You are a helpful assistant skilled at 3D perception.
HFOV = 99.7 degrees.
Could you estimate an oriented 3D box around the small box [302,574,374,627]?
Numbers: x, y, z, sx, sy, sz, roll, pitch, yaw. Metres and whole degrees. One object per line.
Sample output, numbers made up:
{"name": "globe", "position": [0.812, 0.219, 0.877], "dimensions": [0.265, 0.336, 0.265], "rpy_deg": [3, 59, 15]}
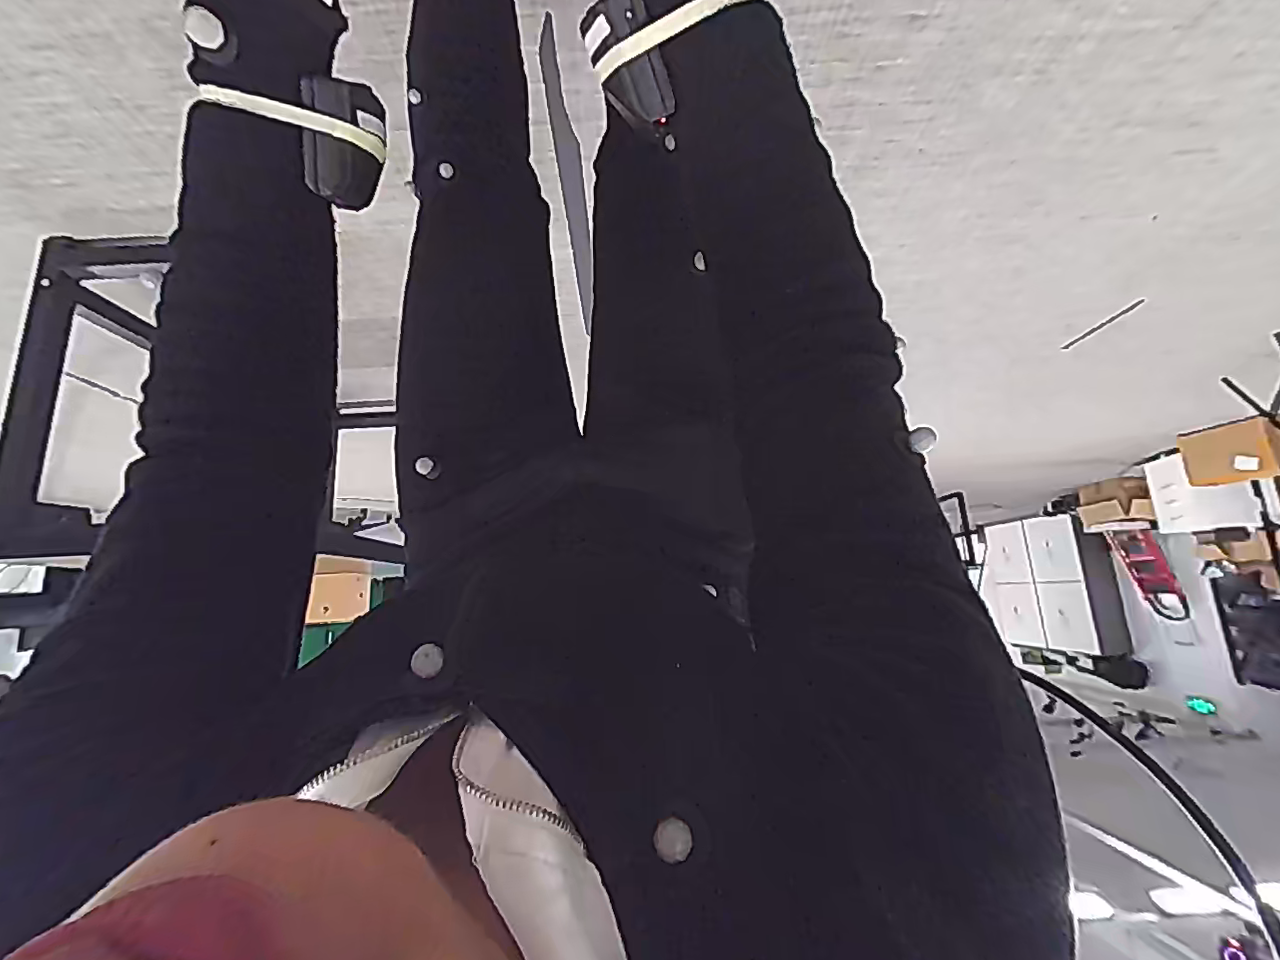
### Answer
{"name": "small box", "position": [-1.067, 0.426, 1.921], "dimensions": [0.179, 0.176, 0.168], "rpy_deg": [-2, 167, -3]}
